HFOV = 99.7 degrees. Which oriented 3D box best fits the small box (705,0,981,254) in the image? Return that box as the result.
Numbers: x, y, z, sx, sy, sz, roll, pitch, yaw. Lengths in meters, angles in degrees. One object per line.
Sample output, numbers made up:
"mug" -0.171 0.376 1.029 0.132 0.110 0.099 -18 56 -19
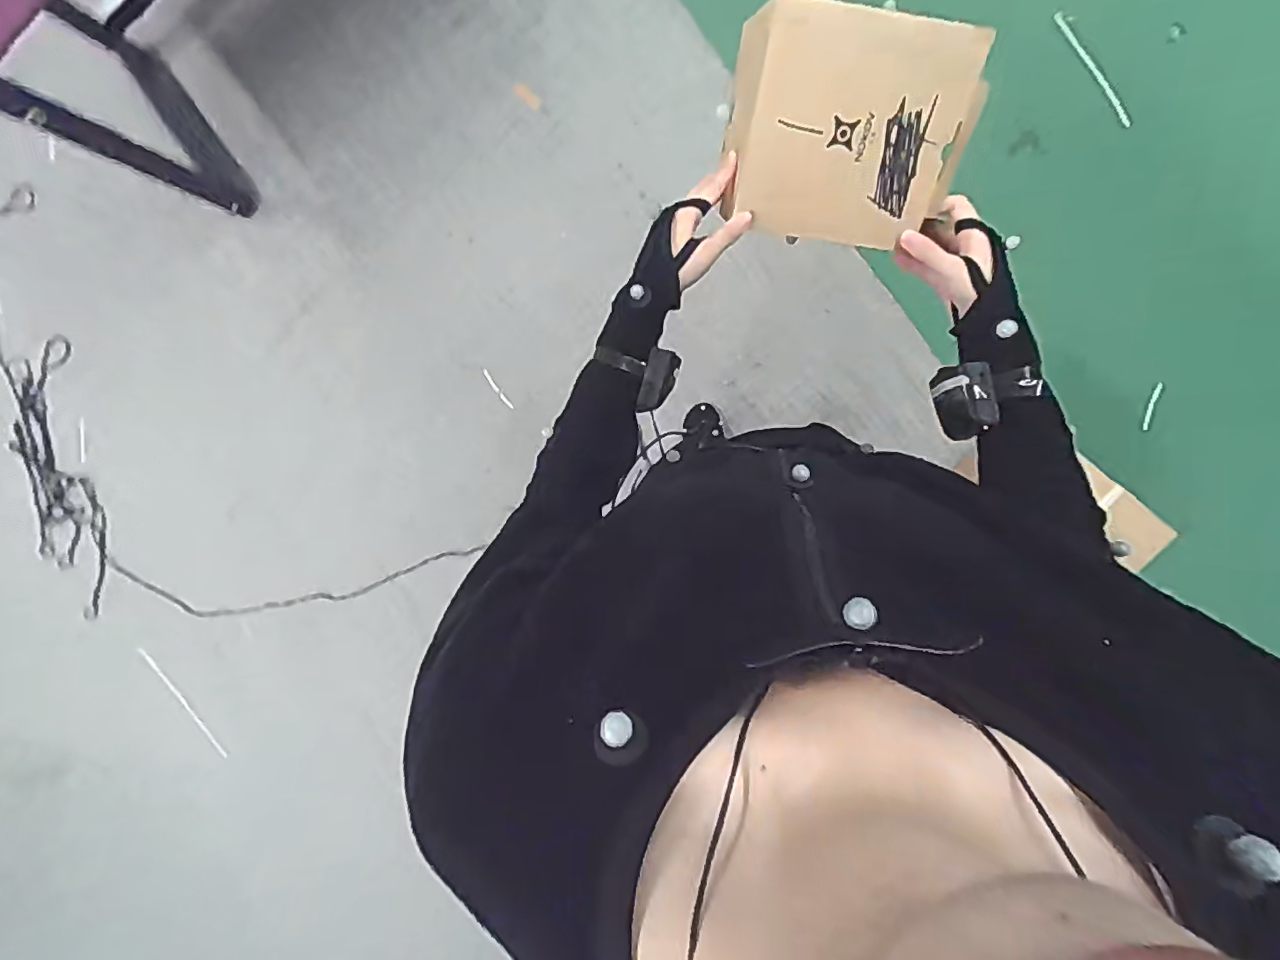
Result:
"small box" 0.170 -0.331 0.522 0.179 0.176 0.168 7 122 -4
